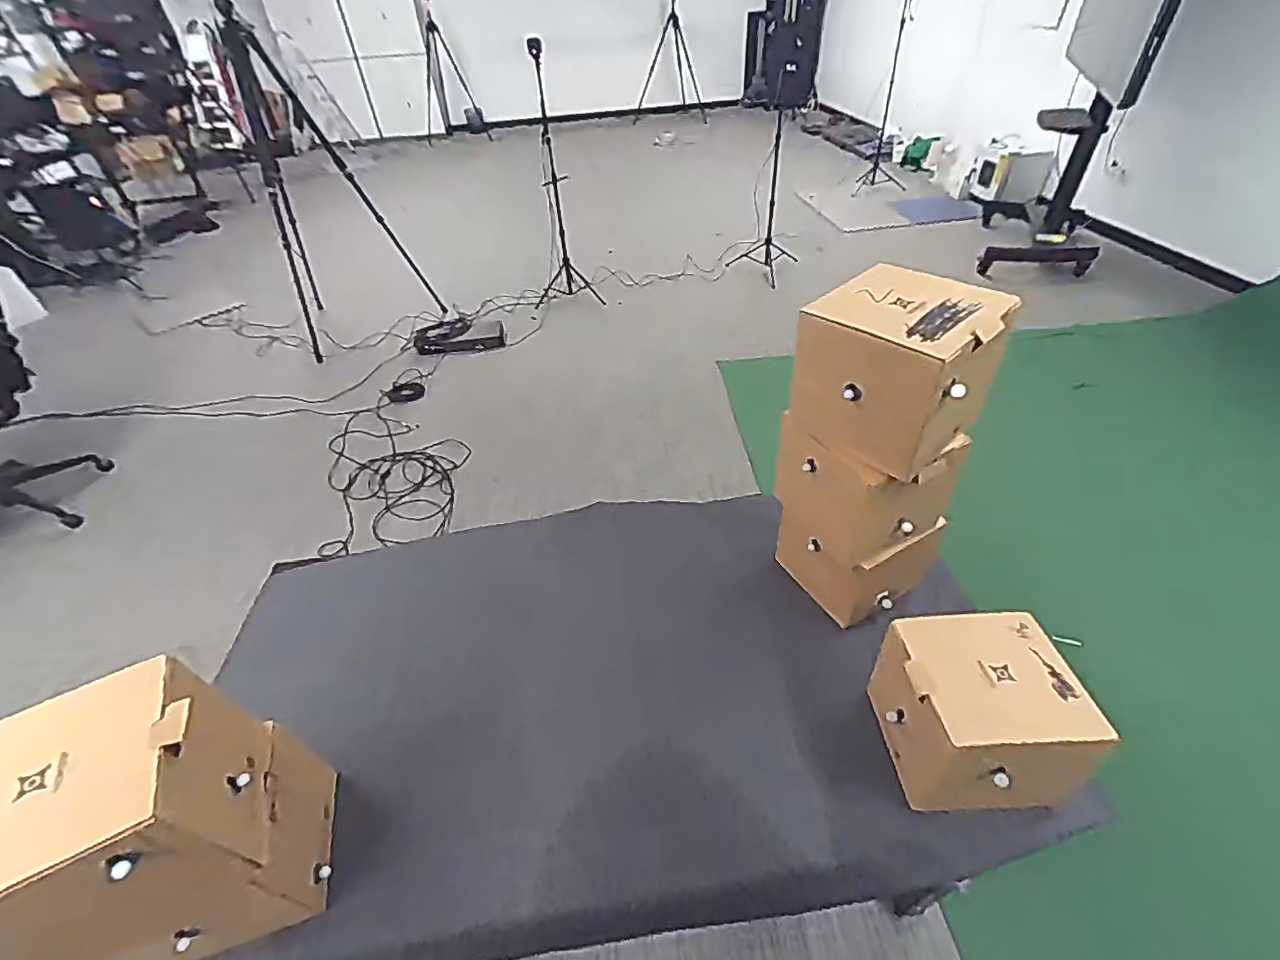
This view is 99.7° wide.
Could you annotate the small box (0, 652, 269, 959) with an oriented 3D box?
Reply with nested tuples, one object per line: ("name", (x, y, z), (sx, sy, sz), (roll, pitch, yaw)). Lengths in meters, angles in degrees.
("small box", (-0.479, 0.301, 0.493), (0.179, 0.176, 0.168), (-24, 47, -20))

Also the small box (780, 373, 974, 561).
("small box", (0.316, -0.020, 0.766), (0.168, 0.176, 0.179), (-22, 46, -13))

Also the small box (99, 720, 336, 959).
("small box", (-0.474, 0.409, 0.615), (0.179, 0.176, 0.168), (-15, 45, -11))

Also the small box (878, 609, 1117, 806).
("small box", (0.412, 0.282, 0.668), (0.179, 0.176, 0.168), (-4, 39, 2))

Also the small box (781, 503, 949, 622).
("small box", (0.350, 0.096, 0.880), (0.168, 0.176, 0.179), (-25, 48, -17))
